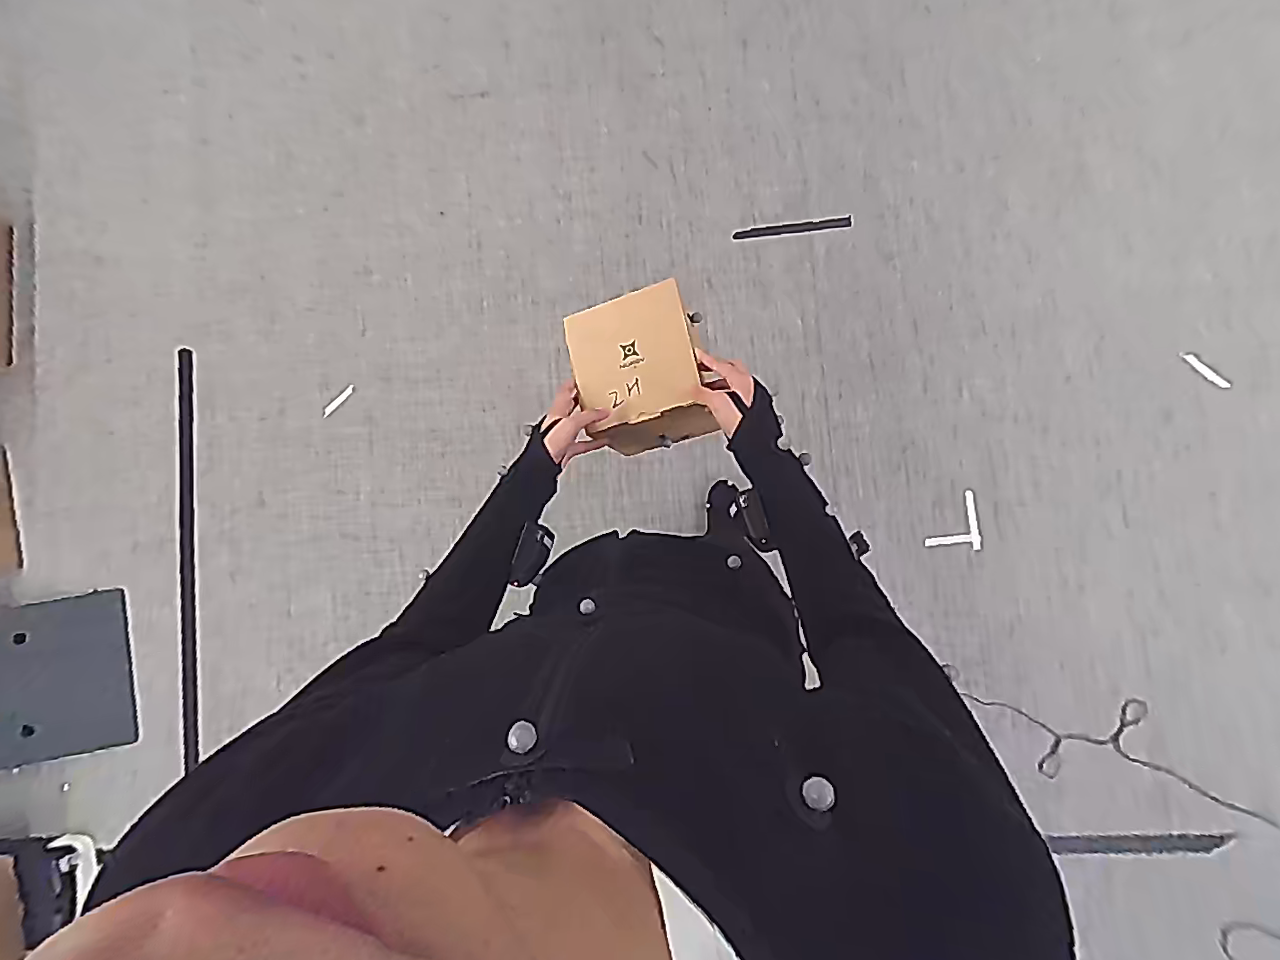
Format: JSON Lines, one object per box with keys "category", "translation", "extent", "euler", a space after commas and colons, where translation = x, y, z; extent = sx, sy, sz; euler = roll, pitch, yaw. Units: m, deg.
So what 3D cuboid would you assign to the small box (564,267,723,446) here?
{"category": "small box", "translation": [0.011, -0.163, 0.771], "extent": [0.168, 0.176, 0.179], "euler": [-15, 79, 15]}
